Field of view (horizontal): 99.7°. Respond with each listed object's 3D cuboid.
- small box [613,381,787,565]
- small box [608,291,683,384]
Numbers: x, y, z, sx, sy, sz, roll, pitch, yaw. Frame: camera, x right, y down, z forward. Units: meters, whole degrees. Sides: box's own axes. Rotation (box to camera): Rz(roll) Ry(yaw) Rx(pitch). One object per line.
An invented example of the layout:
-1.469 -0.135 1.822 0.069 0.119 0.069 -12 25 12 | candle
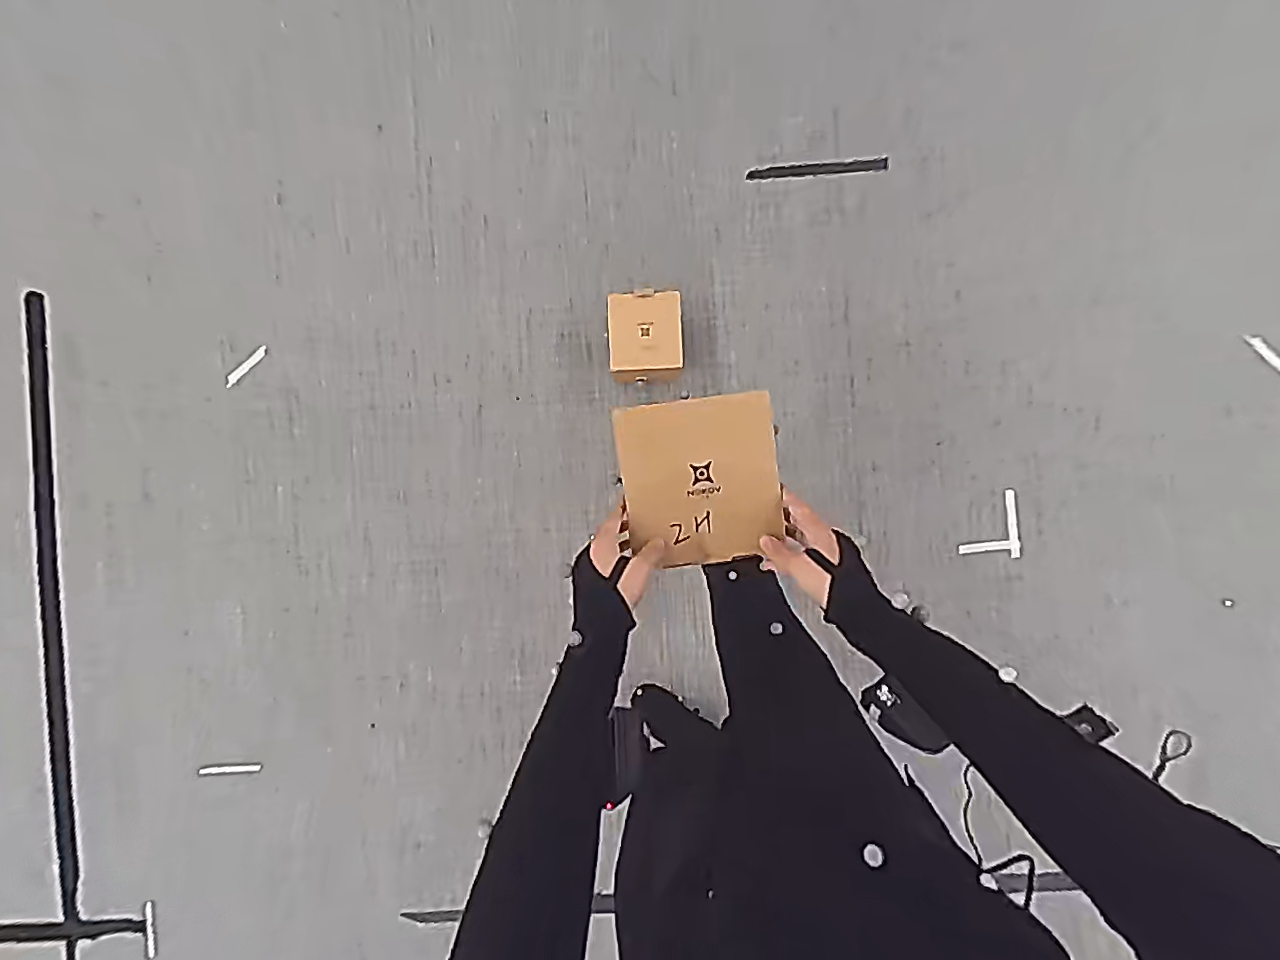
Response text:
0.059 -0.013 0.638 0.168 0.176 0.179 -8 96 -3 | small box
0.012 -0.330 1.274 0.168 0.176 0.179 -2 90 1 | small box
